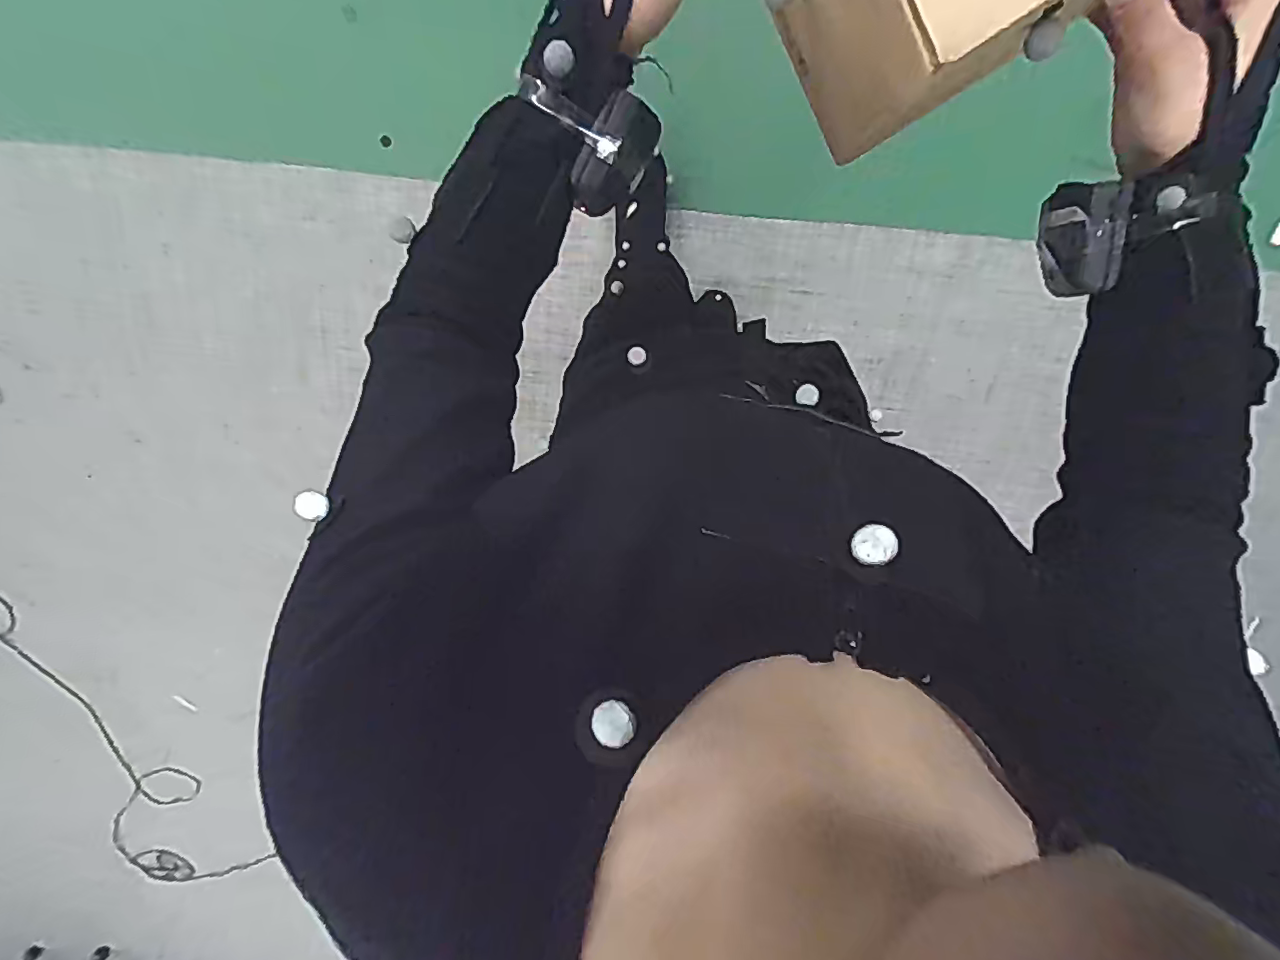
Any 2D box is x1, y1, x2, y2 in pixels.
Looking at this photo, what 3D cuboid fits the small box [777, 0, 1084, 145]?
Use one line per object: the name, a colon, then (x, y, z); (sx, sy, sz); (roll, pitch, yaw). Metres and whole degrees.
small box: (0.147, -0.285, 0.233); (0.179, 0.176, 0.168); (-28, 104, 18)
